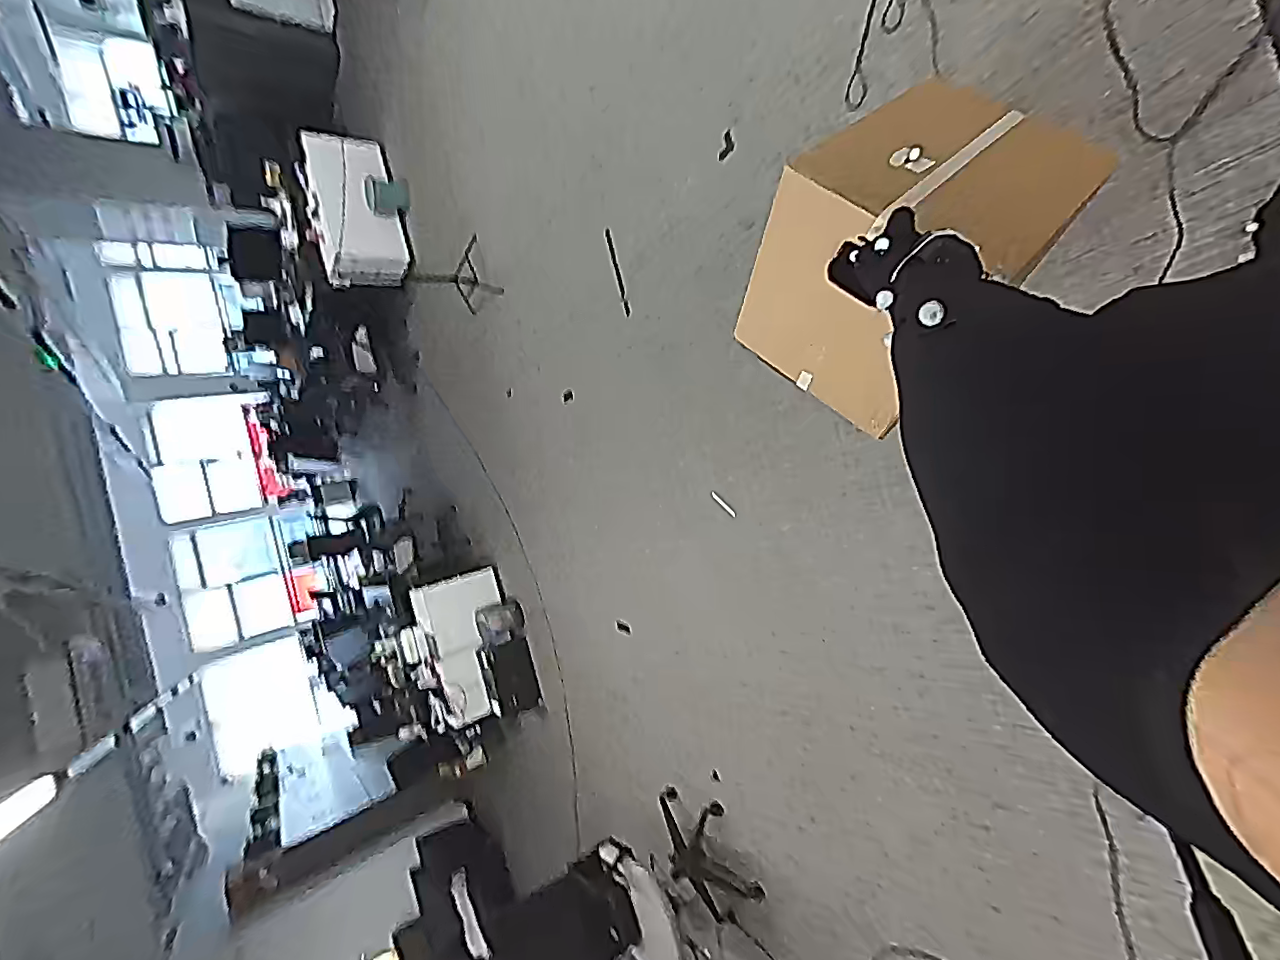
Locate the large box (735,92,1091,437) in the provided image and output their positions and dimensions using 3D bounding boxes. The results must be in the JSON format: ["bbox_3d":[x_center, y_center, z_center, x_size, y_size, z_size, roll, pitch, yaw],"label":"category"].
[{"bbox_3d":[0.420,-0.353,0.895,0.320,0.408,0.320,39,155,19],"label":"large box"}]
